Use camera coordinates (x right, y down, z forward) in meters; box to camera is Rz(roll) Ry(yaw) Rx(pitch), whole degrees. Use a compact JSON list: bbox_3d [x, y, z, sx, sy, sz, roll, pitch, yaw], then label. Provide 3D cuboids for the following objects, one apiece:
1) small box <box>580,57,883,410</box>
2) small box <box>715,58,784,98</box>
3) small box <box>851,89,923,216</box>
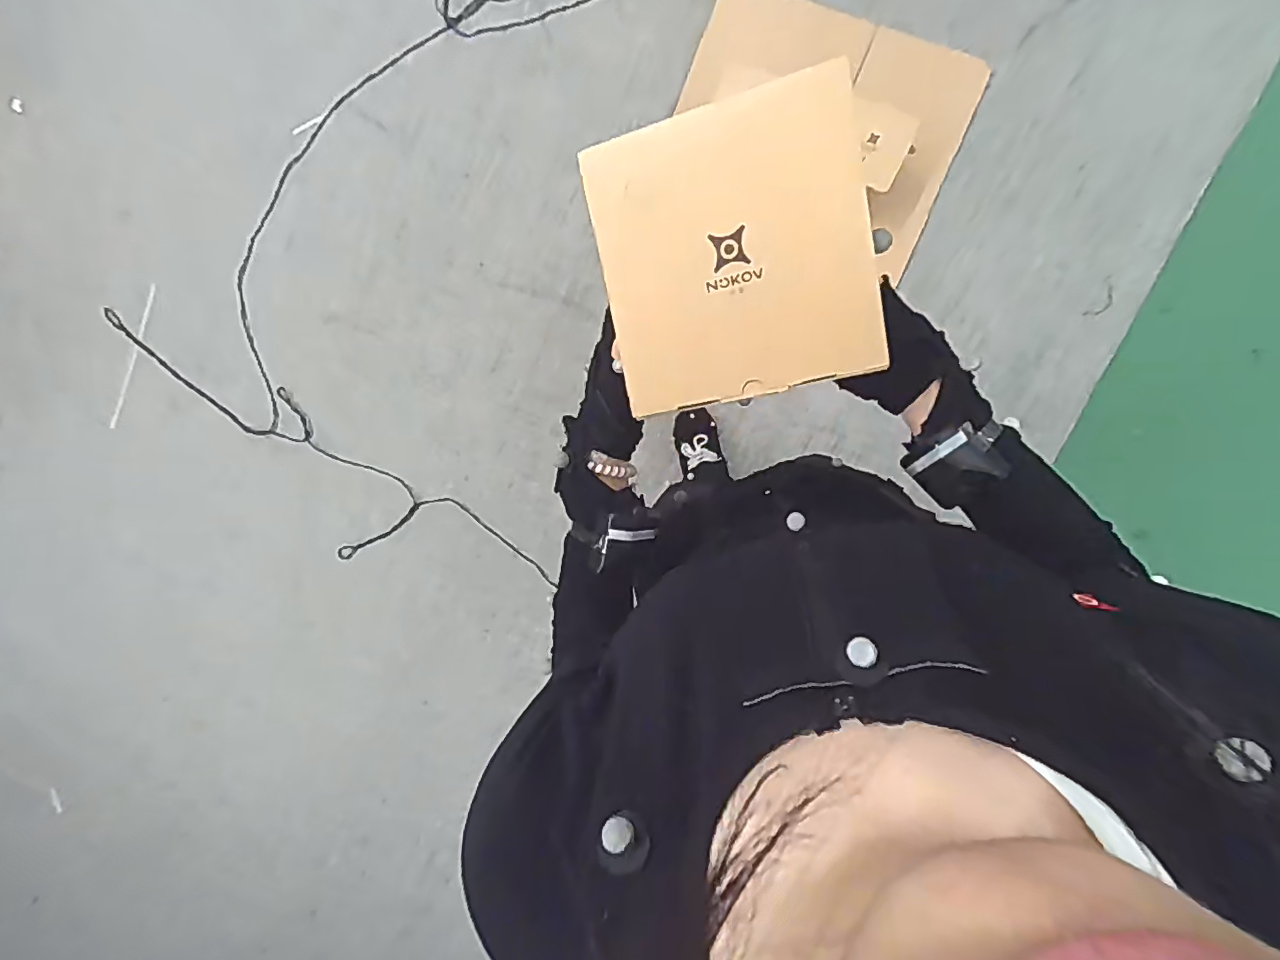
[{"bbox_3d":[0.072,-0.160,0.413,0.168,0.176,0.179,-10,101,16],"label":"small box"},{"bbox_3d":[0.259,-0.852,1.301,0.168,0.176,0.179,21,97,5],"label":"small box"},{"bbox_3d":[0.522,-0.760,1.278,0.168,0.176,0.179,27,98,5],"label":"small box"}]
